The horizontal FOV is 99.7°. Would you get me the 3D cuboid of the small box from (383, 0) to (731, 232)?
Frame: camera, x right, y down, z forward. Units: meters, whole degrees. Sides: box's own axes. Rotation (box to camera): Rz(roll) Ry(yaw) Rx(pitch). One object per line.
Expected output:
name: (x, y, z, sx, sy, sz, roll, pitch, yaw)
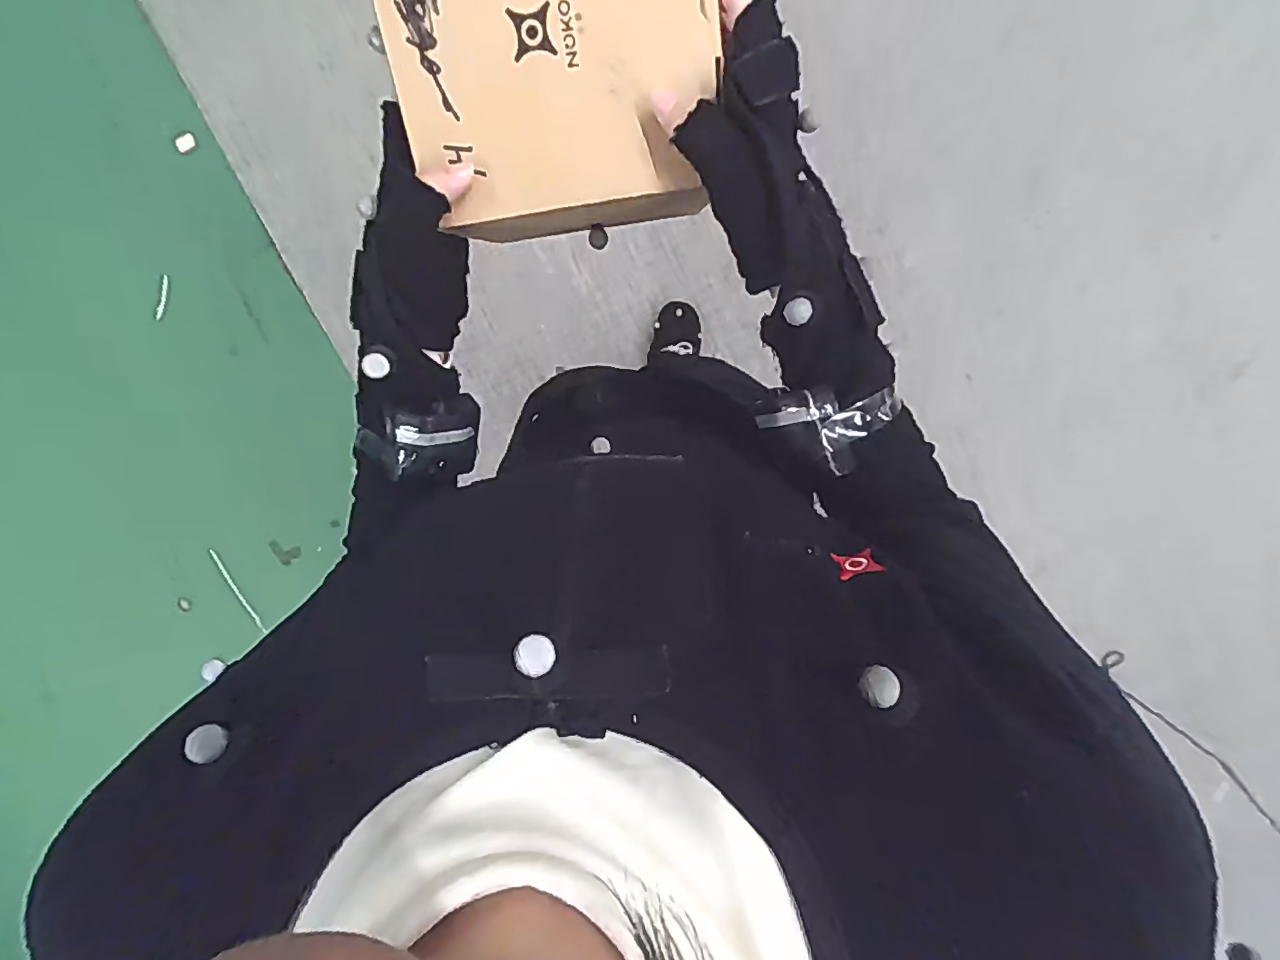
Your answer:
small box: (-0.045, -0.267, 0.355, 0.179, 0.176, 0.168, -7, 110, 2)
